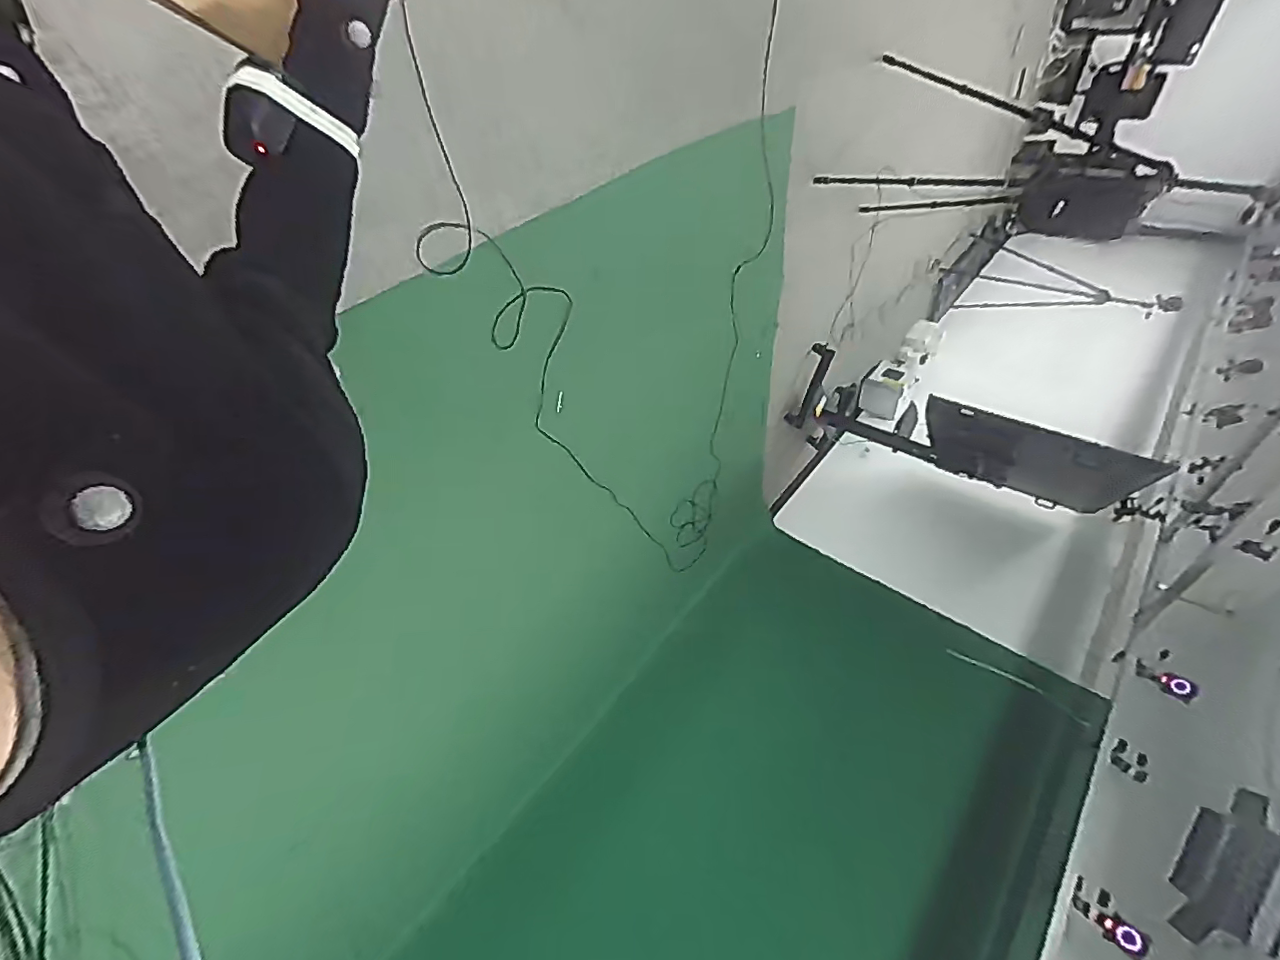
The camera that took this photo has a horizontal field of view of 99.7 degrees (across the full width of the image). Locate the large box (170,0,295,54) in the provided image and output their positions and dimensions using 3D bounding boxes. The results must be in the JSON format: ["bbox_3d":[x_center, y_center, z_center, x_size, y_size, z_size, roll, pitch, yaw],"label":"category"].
[{"bbox_3d":[-0.421,-0.554,0.288,0.320,0.320,0.408,-59,156,15],"label":"large box"}]
